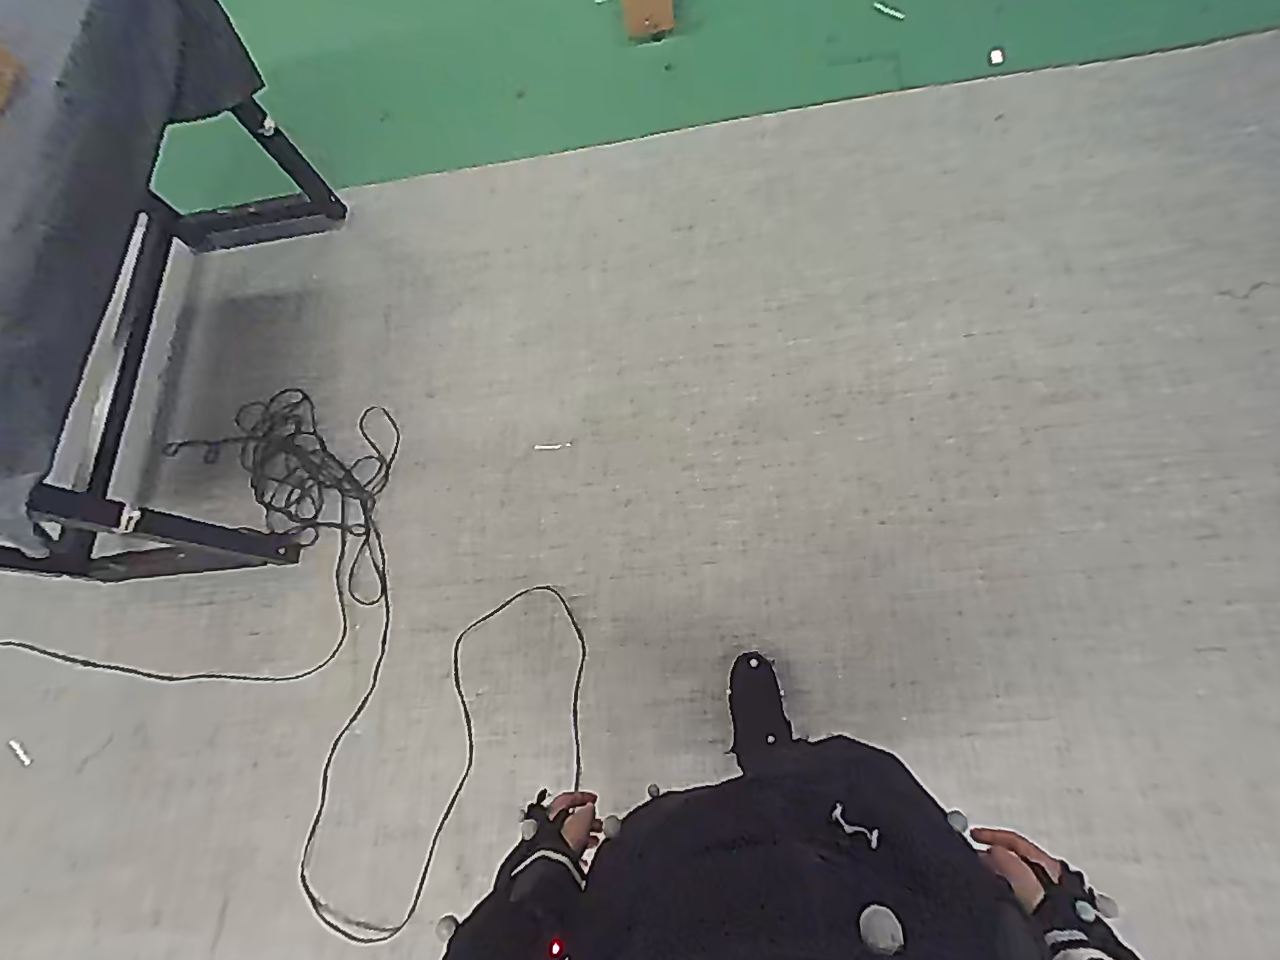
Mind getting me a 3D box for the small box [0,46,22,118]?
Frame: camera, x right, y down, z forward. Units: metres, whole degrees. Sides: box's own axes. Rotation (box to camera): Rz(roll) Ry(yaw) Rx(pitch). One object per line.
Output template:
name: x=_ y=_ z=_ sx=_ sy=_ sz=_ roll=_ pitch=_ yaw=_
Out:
small box: x=-1.210 y=-0.695 z=0.890 sx=0.179 sy=0.176 sz=0.168 roll=-5 pitch=73 yaw=7
